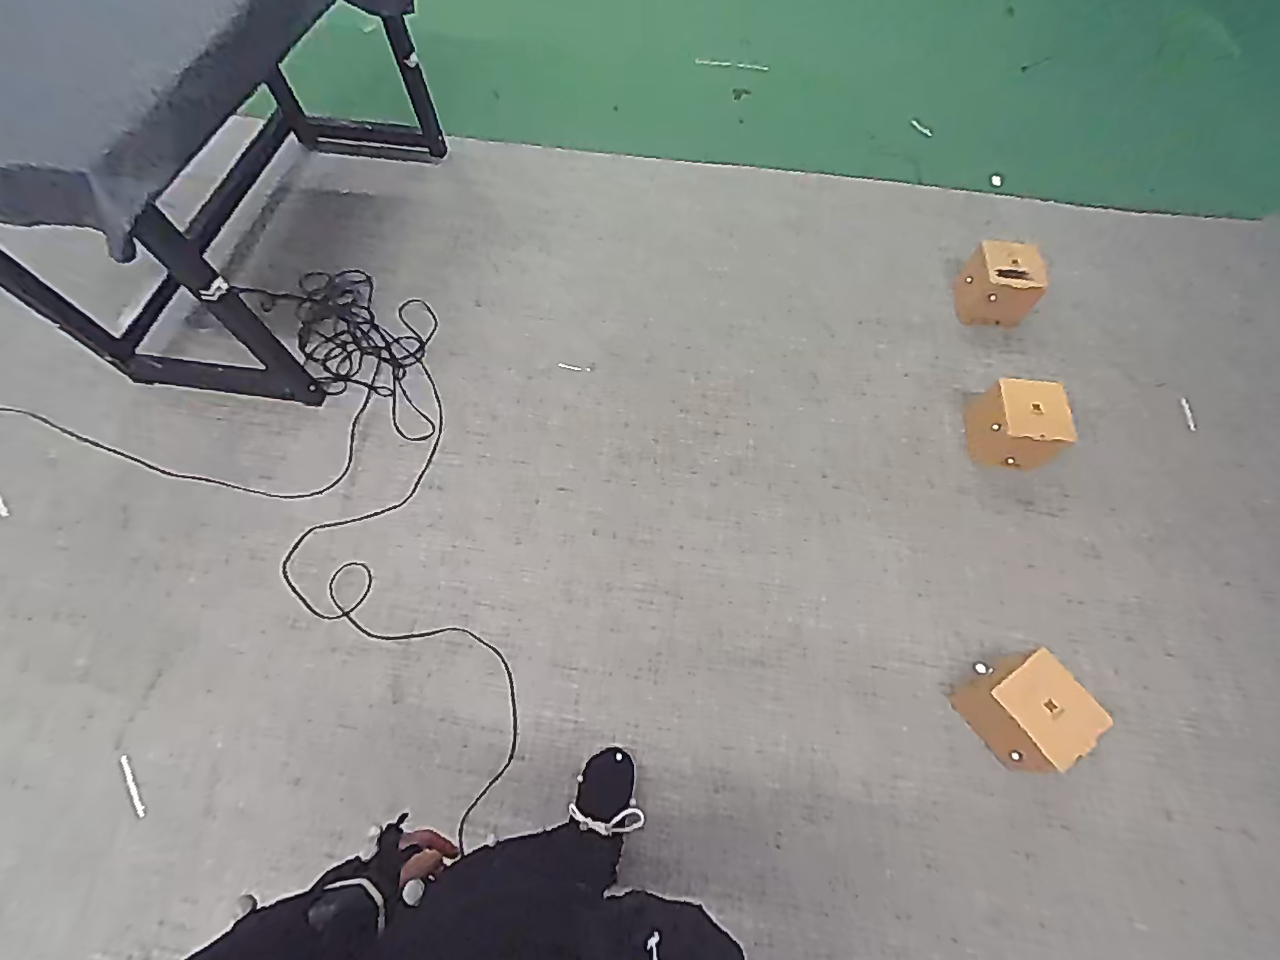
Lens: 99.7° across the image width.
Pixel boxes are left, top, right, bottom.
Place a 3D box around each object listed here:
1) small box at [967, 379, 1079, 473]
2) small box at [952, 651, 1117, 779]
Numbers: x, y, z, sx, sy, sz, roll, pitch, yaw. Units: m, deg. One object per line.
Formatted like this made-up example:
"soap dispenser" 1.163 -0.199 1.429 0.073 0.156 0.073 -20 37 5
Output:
"small box" 0.991 -0.140 1.419 0.168 0.176 0.179 6 65 3
"small box" 0.803 0.484 1.120 0.168 0.176 0.179 -31 67 -15
